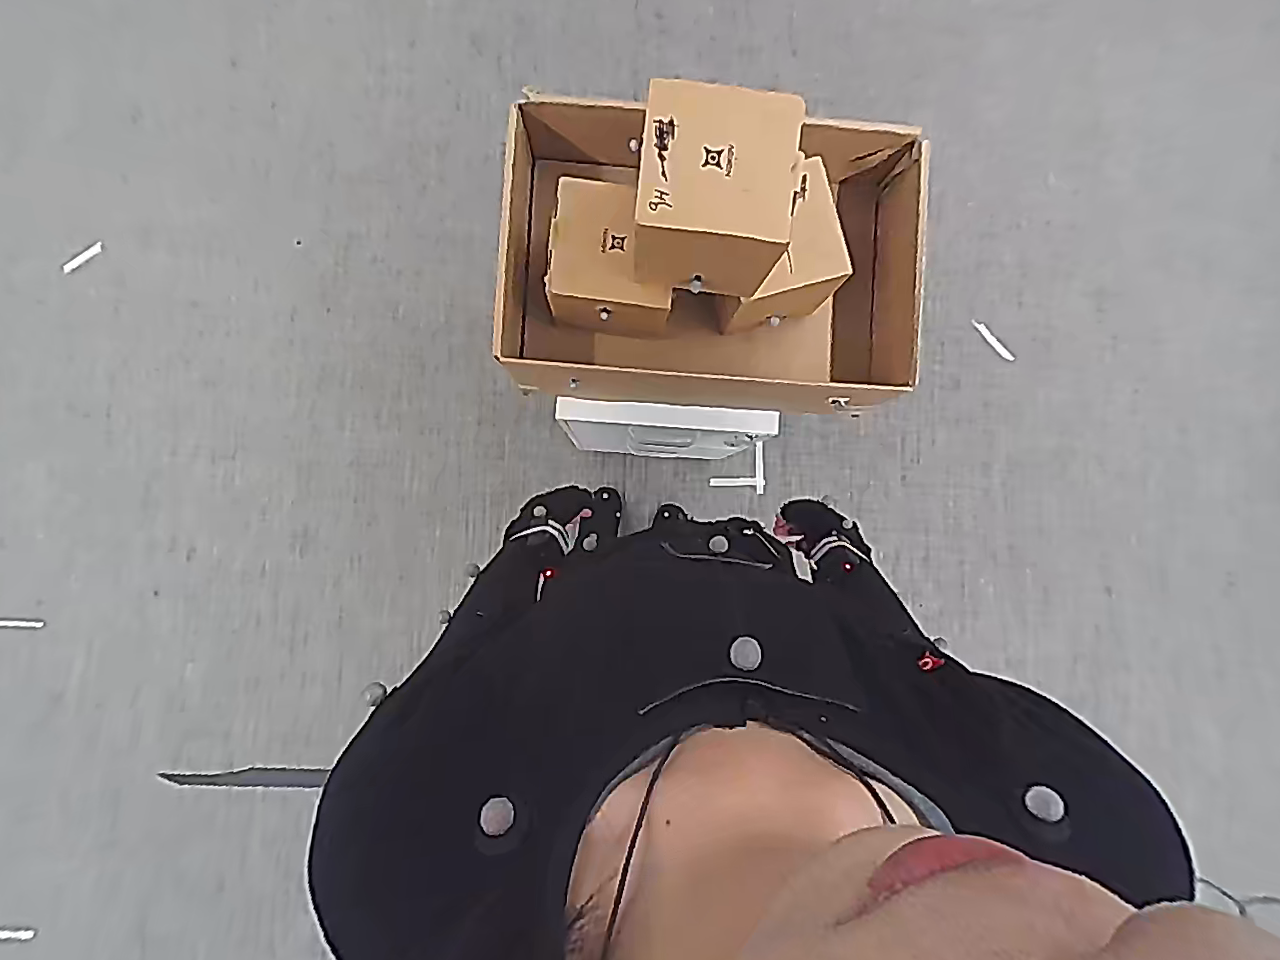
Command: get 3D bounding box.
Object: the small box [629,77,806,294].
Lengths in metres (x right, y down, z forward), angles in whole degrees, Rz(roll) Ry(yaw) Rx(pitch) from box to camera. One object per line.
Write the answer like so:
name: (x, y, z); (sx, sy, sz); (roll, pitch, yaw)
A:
small box: (0.084, -0.346, 0.671); (0.179, 0.176, 0.168); (7, 88, -3)
